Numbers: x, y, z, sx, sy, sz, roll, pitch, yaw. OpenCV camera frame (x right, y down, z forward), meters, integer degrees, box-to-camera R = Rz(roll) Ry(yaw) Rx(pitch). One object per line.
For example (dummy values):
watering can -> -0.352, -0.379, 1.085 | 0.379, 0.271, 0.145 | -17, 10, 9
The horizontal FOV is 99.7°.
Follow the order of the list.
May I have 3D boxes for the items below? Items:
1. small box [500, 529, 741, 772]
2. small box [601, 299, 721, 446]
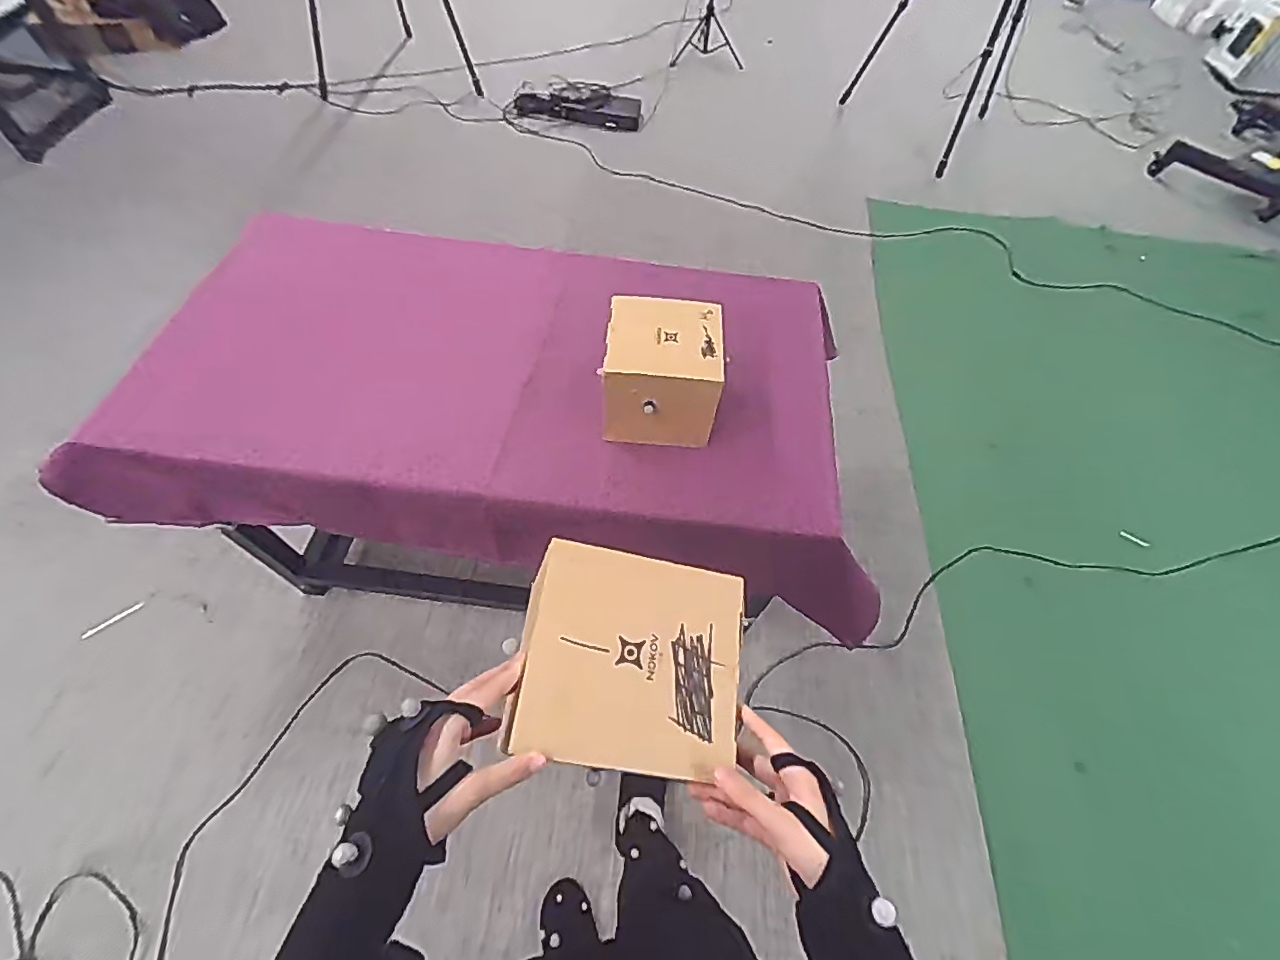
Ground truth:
small box -> -0.023, 0.166, 0.507 | 0.179, 0.176, 0.168 | 14, 61, -10
small box -> 0.033, -0.170, 0.882 | 0.179, 0.176, 0.168 | 5, 57, 0
